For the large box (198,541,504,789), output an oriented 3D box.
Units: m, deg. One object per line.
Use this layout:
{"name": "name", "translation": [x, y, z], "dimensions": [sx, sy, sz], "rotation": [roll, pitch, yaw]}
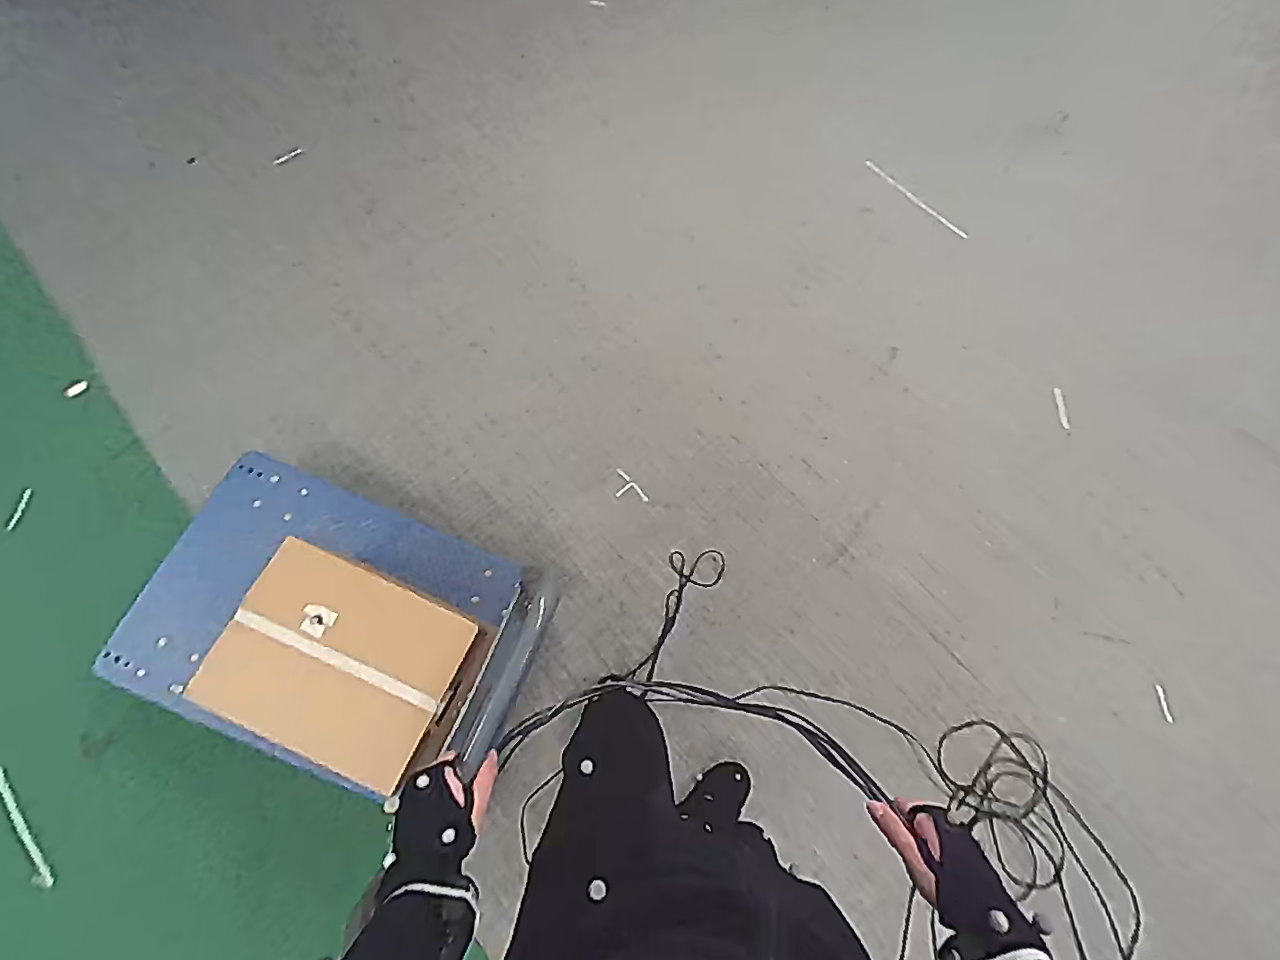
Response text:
{"name": "large box", "translation": [-0.548, 0.368, 1.125], "dimensions": [0.408, 0.320, 0.320], "rotation": [25, 72, 2]}
